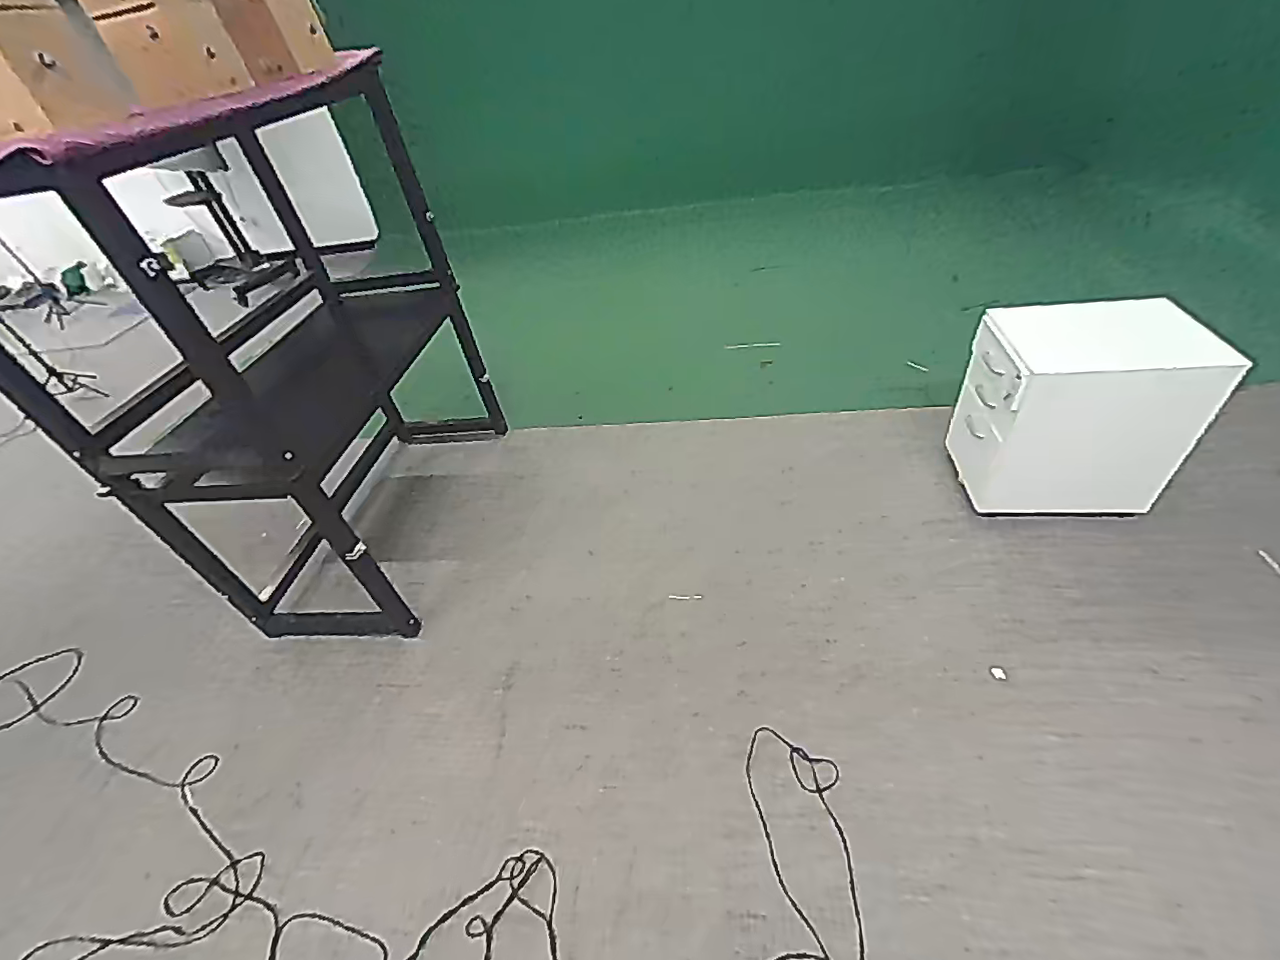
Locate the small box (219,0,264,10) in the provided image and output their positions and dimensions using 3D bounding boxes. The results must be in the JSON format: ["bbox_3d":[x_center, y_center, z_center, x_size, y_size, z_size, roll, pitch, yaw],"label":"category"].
[{"bbox_3d":[-1.011,-1.332,1.389,0.168,0.176,0.179,1,44,17],"label":"small box"}]

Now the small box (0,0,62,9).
[{"bbox_3d":[-1.085,-0.822,0.835,0.168,0.176,0.179,-6,40,3],"label":"small box"}]

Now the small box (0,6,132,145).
[{"bbox_3d":[-1.065,-0.700,0.943,0.168,0.176,0.179,-5,42,5],"label":"small box"}]

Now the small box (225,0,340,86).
[{"bbox_3d":[-0.975,-1.217,1.499,0.168,0.176,0.179,-1,45,15],"label":"small box"}]

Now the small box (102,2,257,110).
[{"bbox_3d":[-1.048,-0.980,1.251,0.179,0.176,0.168,-2,42,10],"label":"small box"}]
